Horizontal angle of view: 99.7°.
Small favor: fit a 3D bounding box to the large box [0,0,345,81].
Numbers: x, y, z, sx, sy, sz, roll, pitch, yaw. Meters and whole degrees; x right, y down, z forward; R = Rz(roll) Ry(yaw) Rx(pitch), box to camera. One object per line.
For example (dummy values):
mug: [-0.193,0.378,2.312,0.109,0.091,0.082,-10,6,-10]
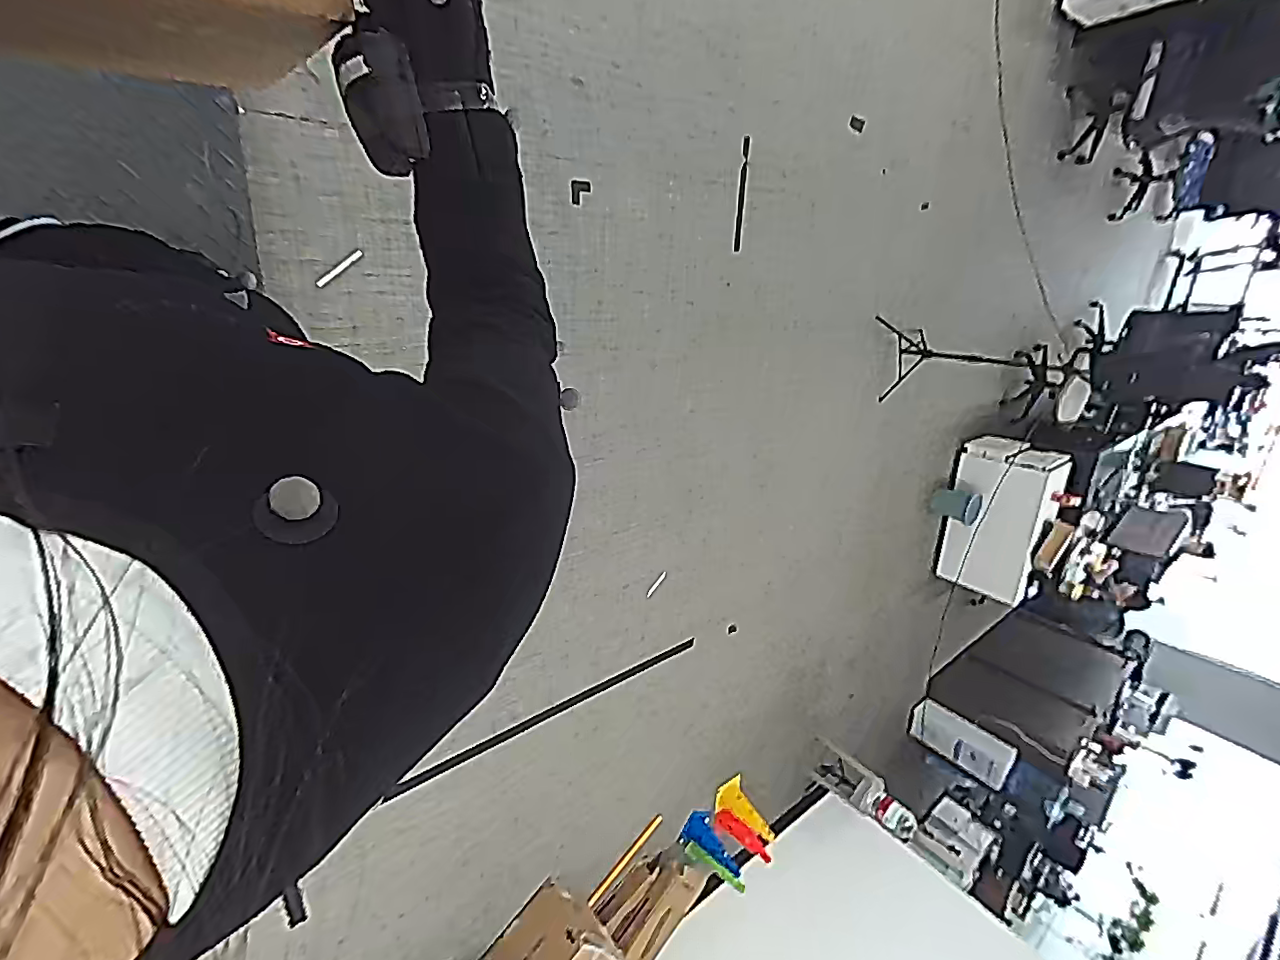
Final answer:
large box: [-0.410,-0.397,0.226,0.408,0.320,0.320,-20,125,-35]
